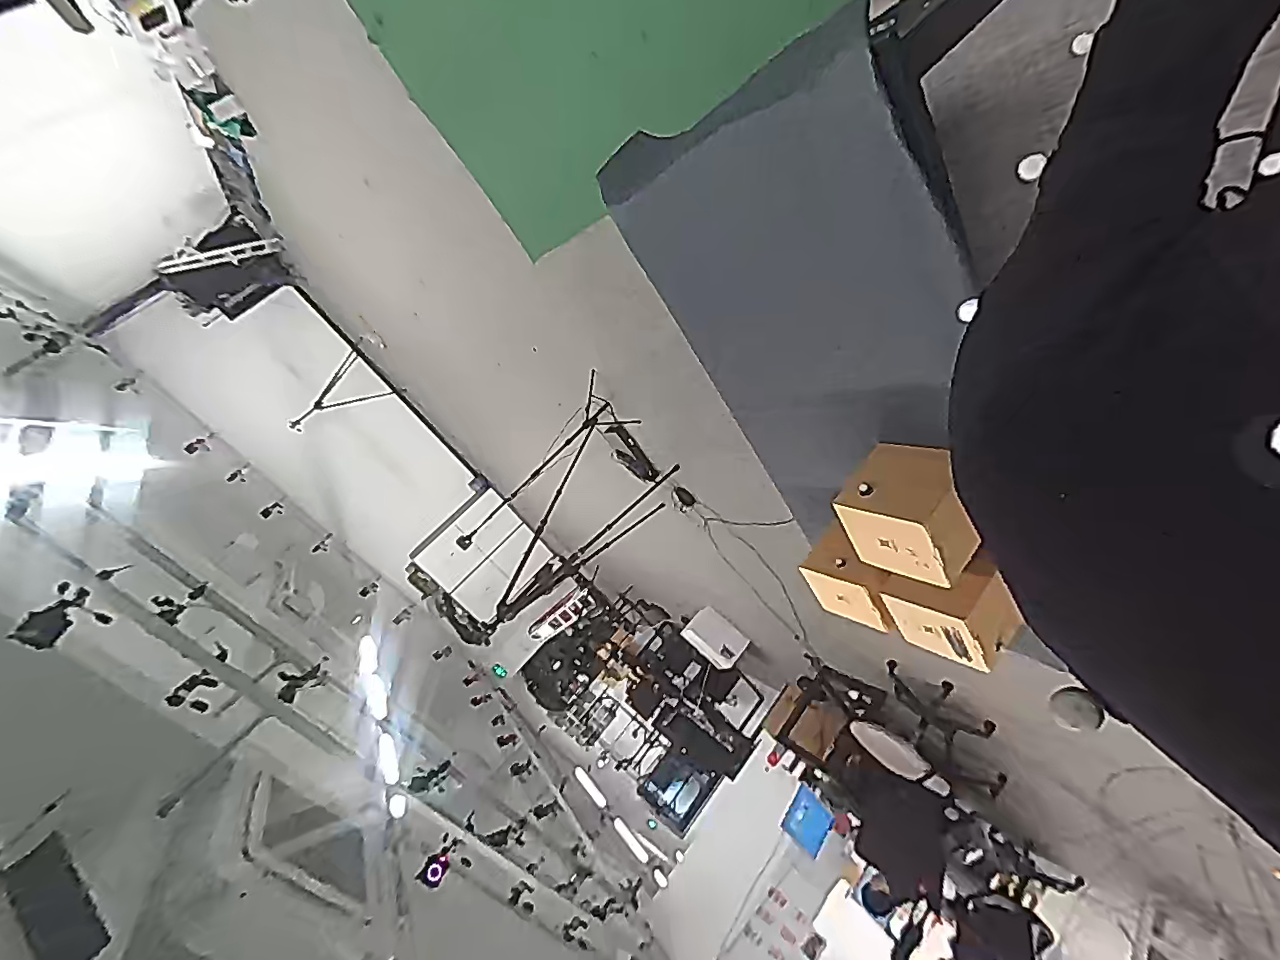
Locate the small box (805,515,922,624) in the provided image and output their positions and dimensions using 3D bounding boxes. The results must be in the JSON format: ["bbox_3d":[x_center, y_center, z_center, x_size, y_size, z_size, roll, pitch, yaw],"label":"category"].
[{"bbox_3d":[0.529,0.199,1.262,0.168,0.176,0.179,52,158,-27],"label":"small box"}]

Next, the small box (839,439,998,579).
[{"bbox_3d":[0.499,0.043,0.970,0.179,0.176,0.168,15,147,56],"label":"small box"}]
